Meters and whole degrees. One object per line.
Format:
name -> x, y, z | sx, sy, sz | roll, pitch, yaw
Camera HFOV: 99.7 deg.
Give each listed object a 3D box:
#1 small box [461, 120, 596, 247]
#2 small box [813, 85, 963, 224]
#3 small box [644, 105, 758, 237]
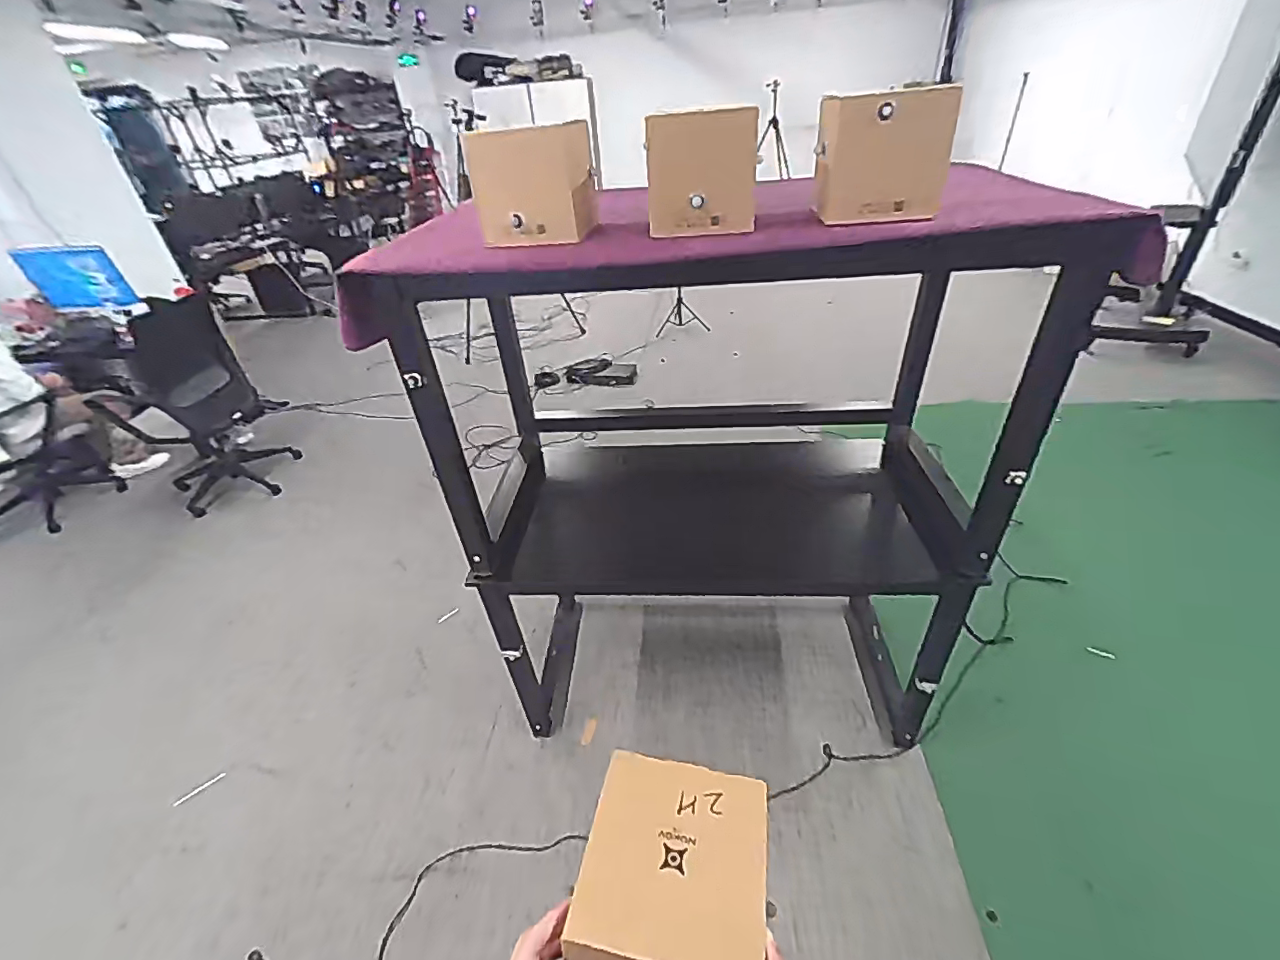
small box -> -0.174, -0.499, 0.913 | 0.168, 0.176, 0.179 | 1, 36, 9
small box -> 0.373, -0.509, 0.852 | 0.168, 0.176, 0.179 | 0, 34, 9
small box -> 0.101, -0.501, 0.879 | 0.168, 0.176, 0.179 | 0, 36, 8
